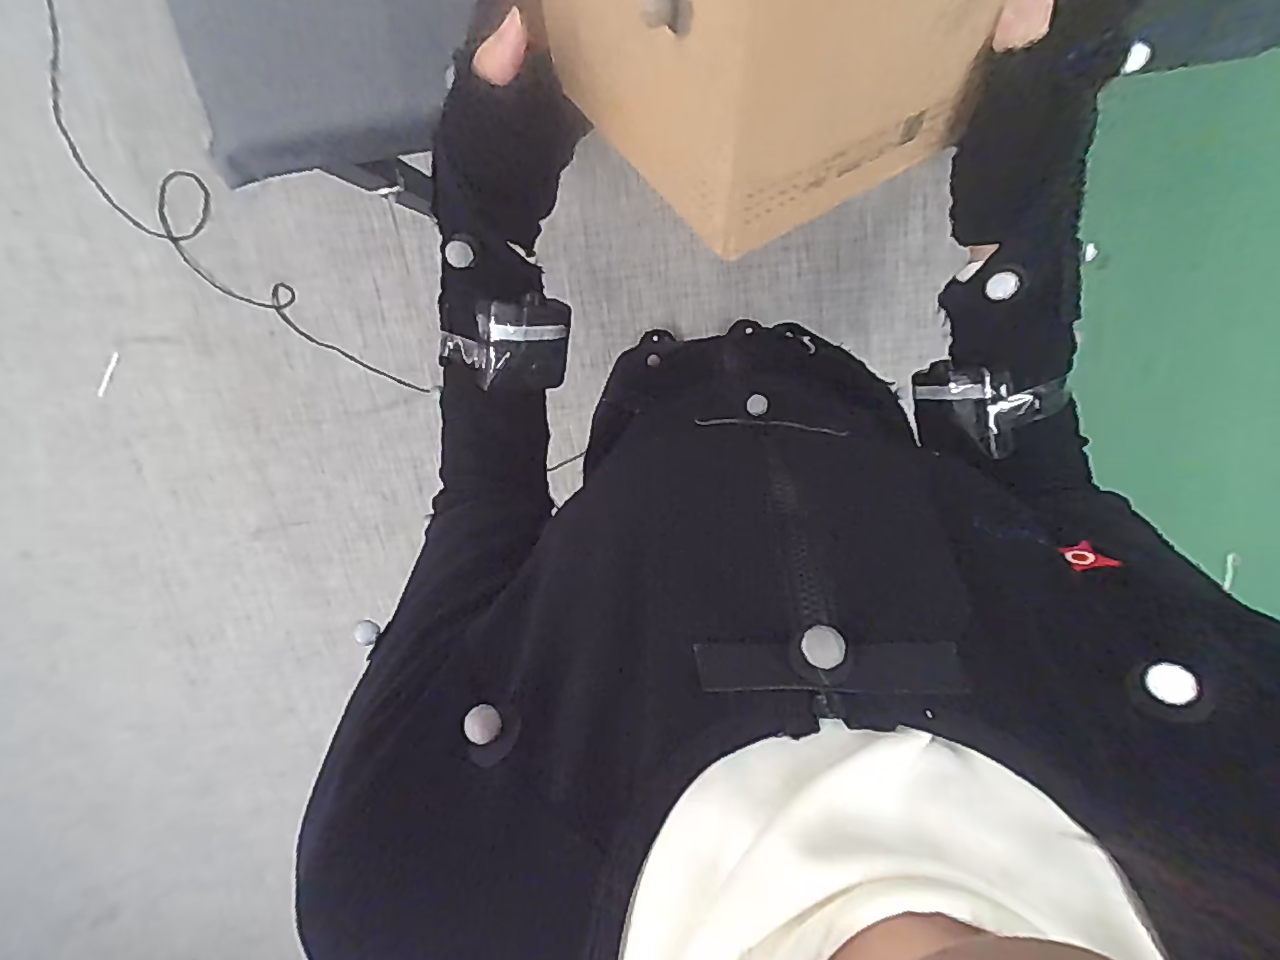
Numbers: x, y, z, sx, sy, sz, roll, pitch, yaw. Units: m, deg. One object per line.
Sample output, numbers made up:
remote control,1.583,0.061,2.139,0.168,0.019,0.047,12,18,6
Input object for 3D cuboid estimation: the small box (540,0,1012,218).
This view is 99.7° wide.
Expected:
small box,0.058,-0.248,0.237,0.168,0.176,0.179,-32,67,-12
